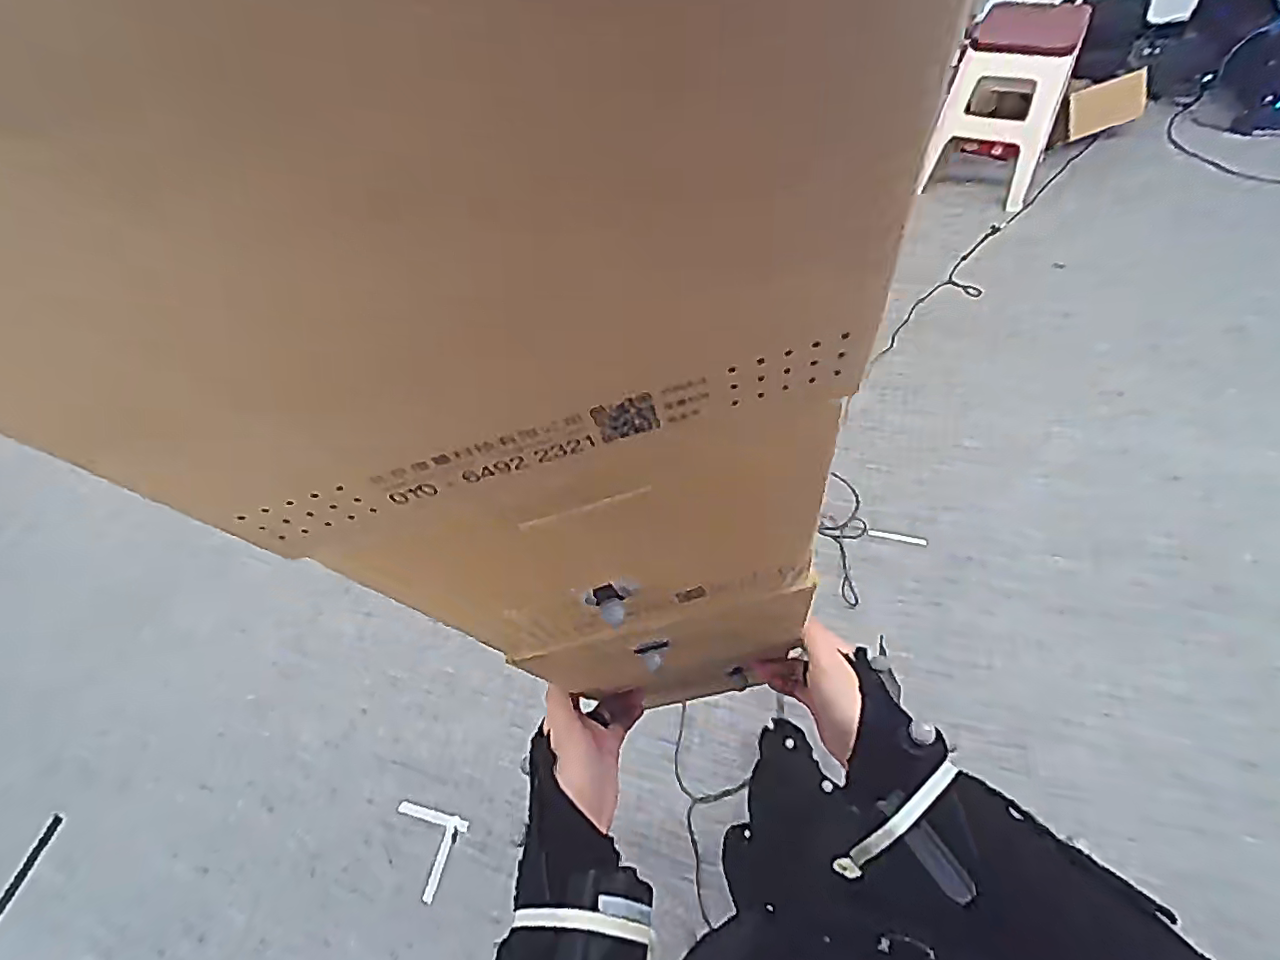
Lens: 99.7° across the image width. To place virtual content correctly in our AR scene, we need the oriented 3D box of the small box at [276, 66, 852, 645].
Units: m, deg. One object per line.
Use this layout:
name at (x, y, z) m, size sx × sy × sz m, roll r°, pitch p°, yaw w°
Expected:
small box at (-0.025, -0.042, 0.256) m, size 0.168 × 0.176 × 0.179 m, roll -17°, pitch 60°, yaw 3°

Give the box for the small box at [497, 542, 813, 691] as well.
small box at (0.008, 0.042, 0.391) m, size 0.179 × 0.176 × 0.168 m, roll -15°, pitch 60°, yaw 3°
